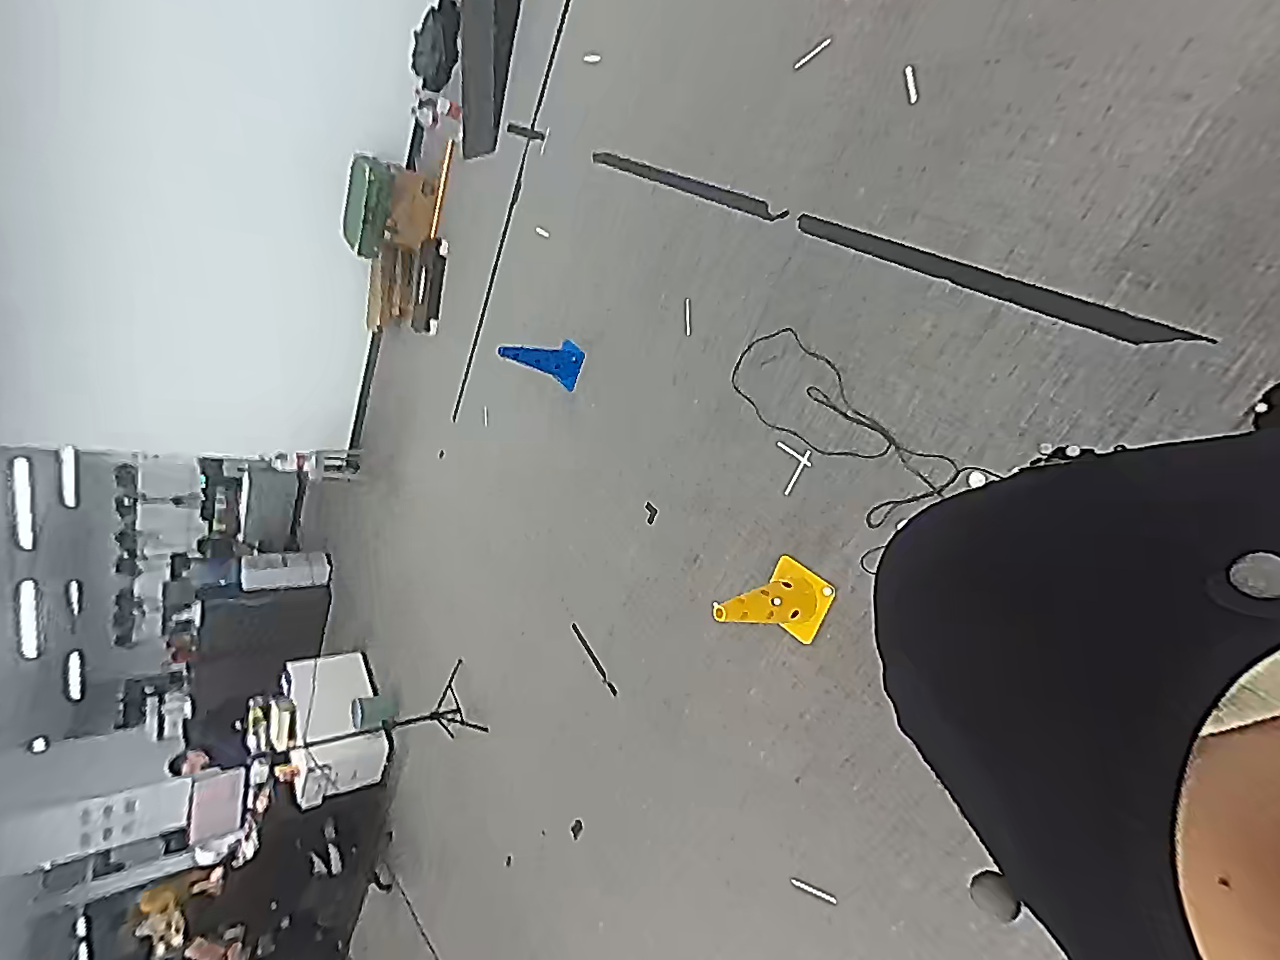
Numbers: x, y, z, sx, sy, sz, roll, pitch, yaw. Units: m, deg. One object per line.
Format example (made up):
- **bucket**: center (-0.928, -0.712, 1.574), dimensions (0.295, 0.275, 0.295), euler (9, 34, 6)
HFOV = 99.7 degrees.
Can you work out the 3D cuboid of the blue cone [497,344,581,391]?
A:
- **blue cone**: center (-0.467, -0.542, 2.459), dimensions (0.193, 0.380, 0.192), euler (46, 122, 40)
